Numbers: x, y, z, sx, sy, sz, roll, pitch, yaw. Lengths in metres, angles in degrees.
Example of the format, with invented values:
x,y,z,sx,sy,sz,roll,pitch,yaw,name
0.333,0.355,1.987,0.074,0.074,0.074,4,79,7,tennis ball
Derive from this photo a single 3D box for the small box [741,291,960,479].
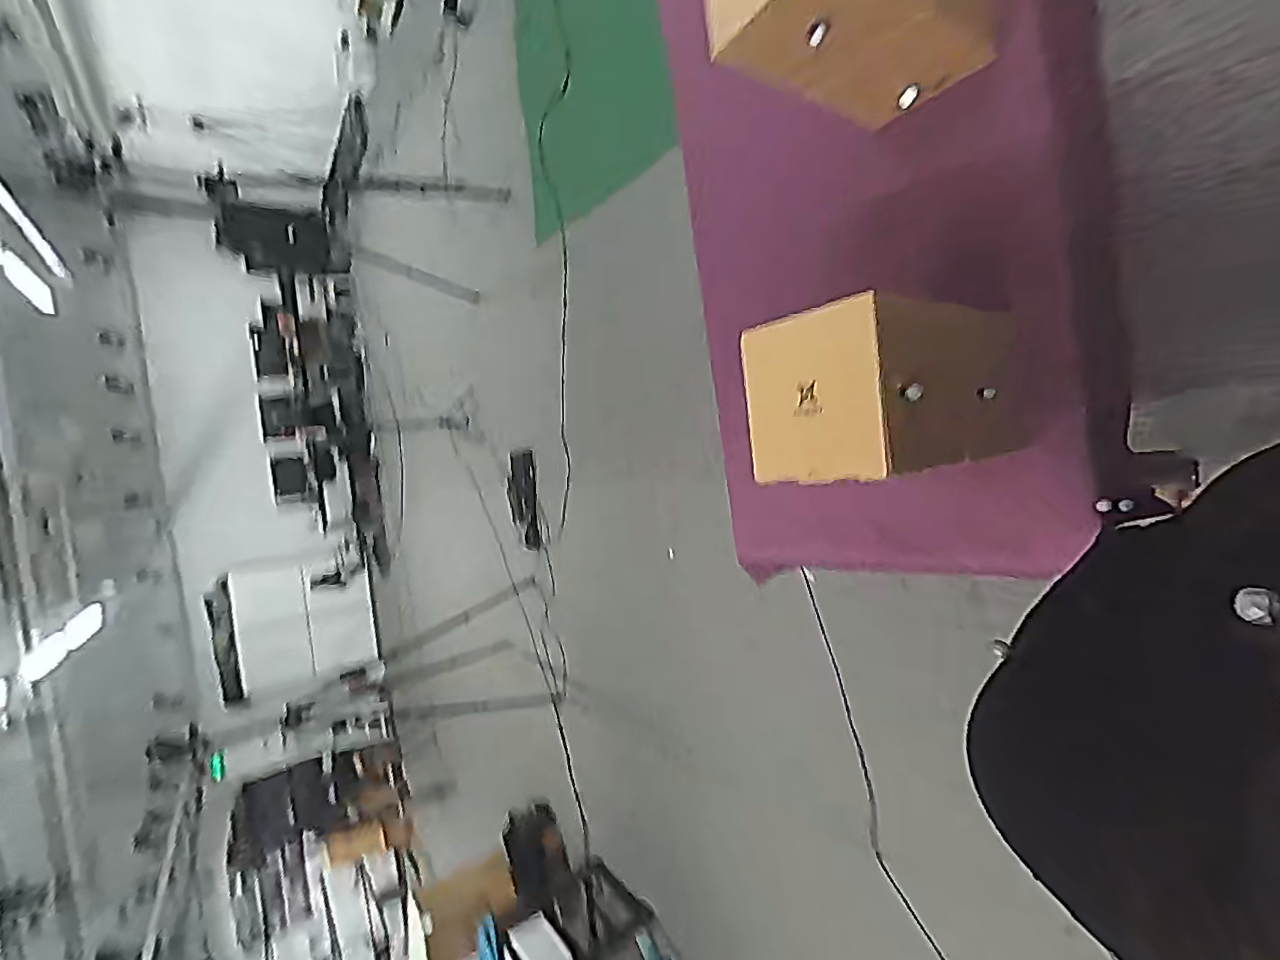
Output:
x,y,z,sx,sy,sz,roll,pitch,yaw,name
0.239,-0.098,0.616,0.168,0.176,0.179,-3,95,54,small box
